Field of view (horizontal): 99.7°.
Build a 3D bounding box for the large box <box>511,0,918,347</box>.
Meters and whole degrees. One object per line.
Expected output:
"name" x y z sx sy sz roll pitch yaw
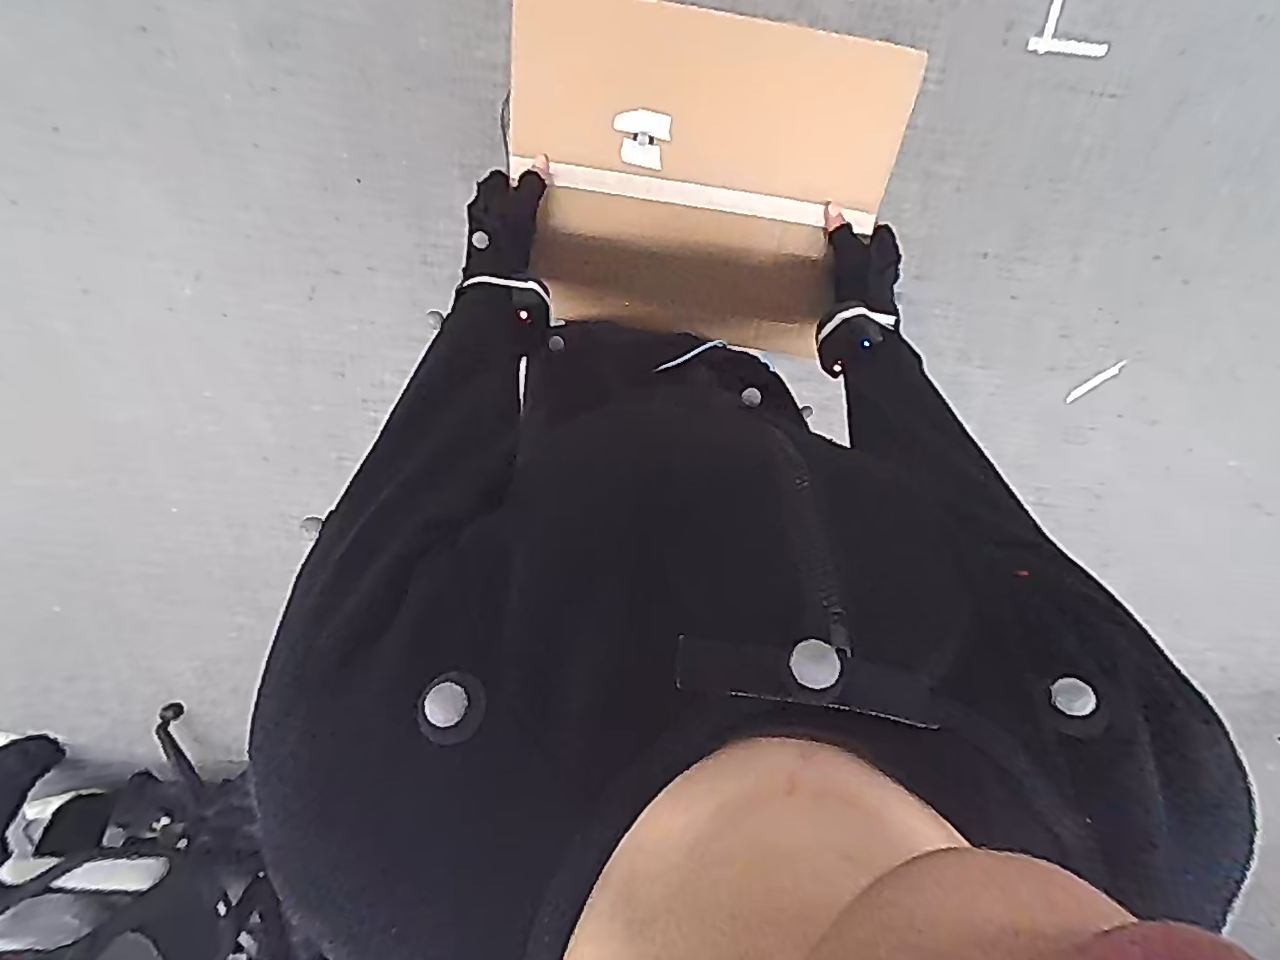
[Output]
"large box" 0.064 -0.401 0.725 0.408 0.320 0.320 8 121 -4
